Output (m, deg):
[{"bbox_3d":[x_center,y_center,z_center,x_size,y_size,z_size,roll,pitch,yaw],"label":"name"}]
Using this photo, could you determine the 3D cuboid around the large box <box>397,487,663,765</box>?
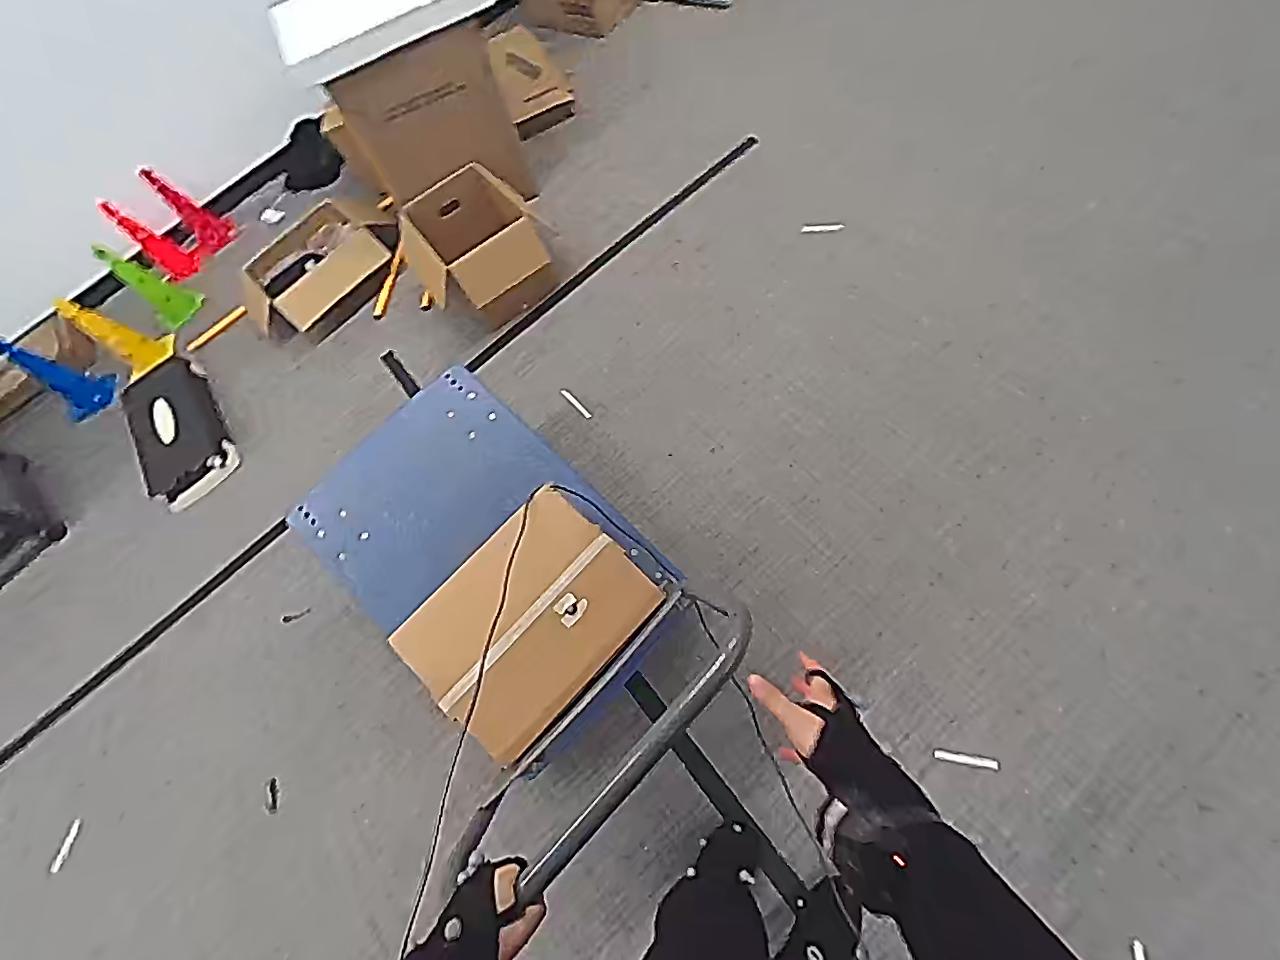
[{"bbox_3d":[-0.201,0.289,1.129,0.320,0.320,0.408,43,79,8],"label":"large box"}]
